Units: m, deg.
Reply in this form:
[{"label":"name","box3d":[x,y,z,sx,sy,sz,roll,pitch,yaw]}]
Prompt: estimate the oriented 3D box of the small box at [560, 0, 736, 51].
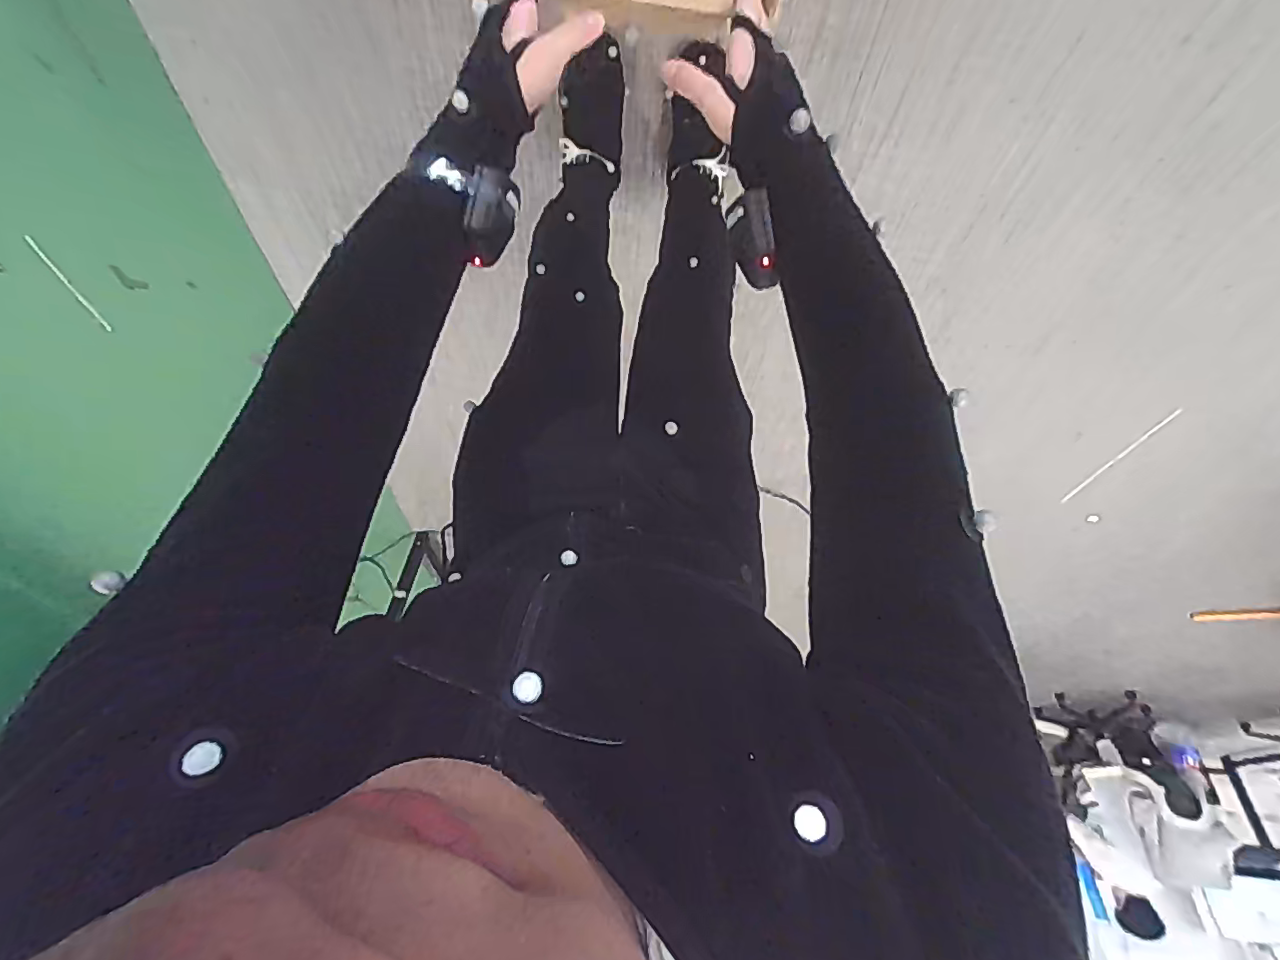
[{"label":"small box","box3d":[0.009,-0.515,0.481,0.168,0.176,0.179,6,121,-3]}]
